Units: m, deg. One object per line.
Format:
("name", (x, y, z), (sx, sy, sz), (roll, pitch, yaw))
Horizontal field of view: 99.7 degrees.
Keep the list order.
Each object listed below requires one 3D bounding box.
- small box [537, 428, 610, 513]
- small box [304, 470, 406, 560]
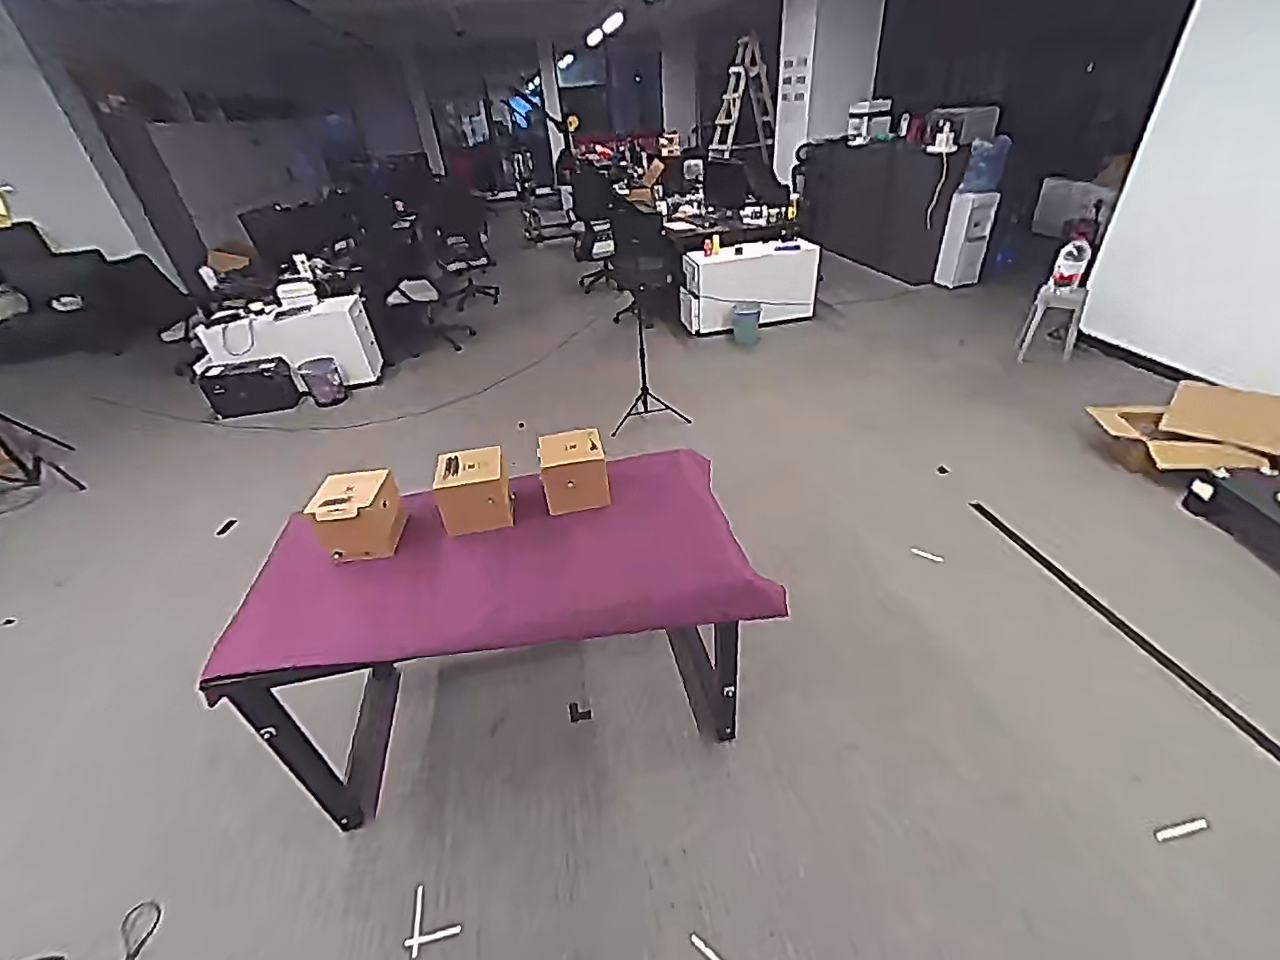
("small box", (-0.190, -0.025, 1.541), (0.179, 0.176, 0.168), (-11, 38, -6))
("small box", (-0.747, 0.098, 1.440), (0.168, 0.176, 0.179), (-6, 35, -2))
